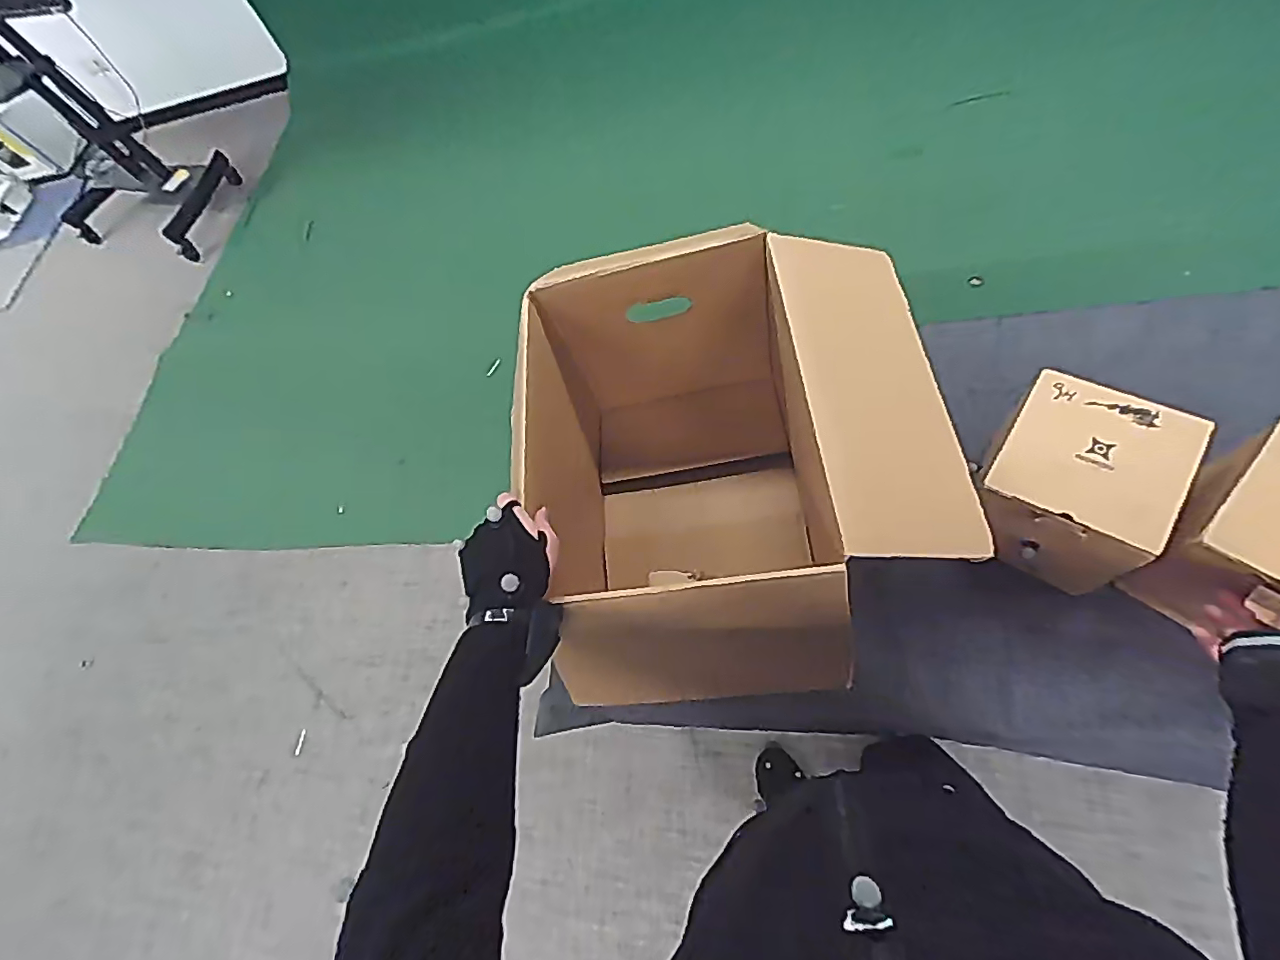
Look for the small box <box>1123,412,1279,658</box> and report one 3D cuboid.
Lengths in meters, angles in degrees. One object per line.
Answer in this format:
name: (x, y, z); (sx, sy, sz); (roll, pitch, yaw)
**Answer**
small box: (0.680, 0.067, 0.580); (0.168, 0.176, 0.179); (37, 79, 26)
